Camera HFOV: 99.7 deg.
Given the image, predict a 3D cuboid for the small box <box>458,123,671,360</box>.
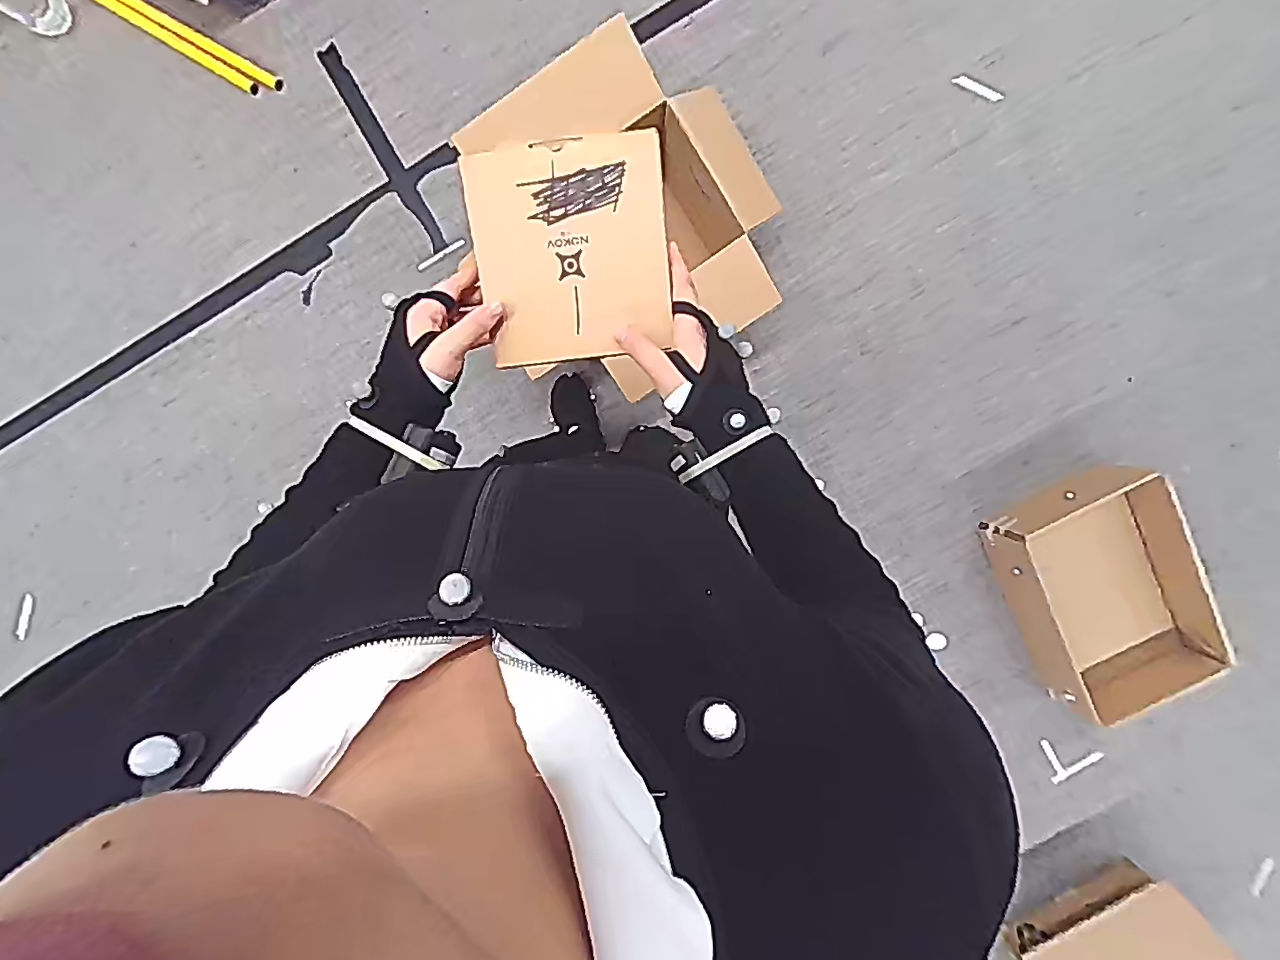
[{"bbox_3d":[-0.059,-0.215,0.537,0.168,0.176,0.179,-5,103,5],"label":"small box"}]
